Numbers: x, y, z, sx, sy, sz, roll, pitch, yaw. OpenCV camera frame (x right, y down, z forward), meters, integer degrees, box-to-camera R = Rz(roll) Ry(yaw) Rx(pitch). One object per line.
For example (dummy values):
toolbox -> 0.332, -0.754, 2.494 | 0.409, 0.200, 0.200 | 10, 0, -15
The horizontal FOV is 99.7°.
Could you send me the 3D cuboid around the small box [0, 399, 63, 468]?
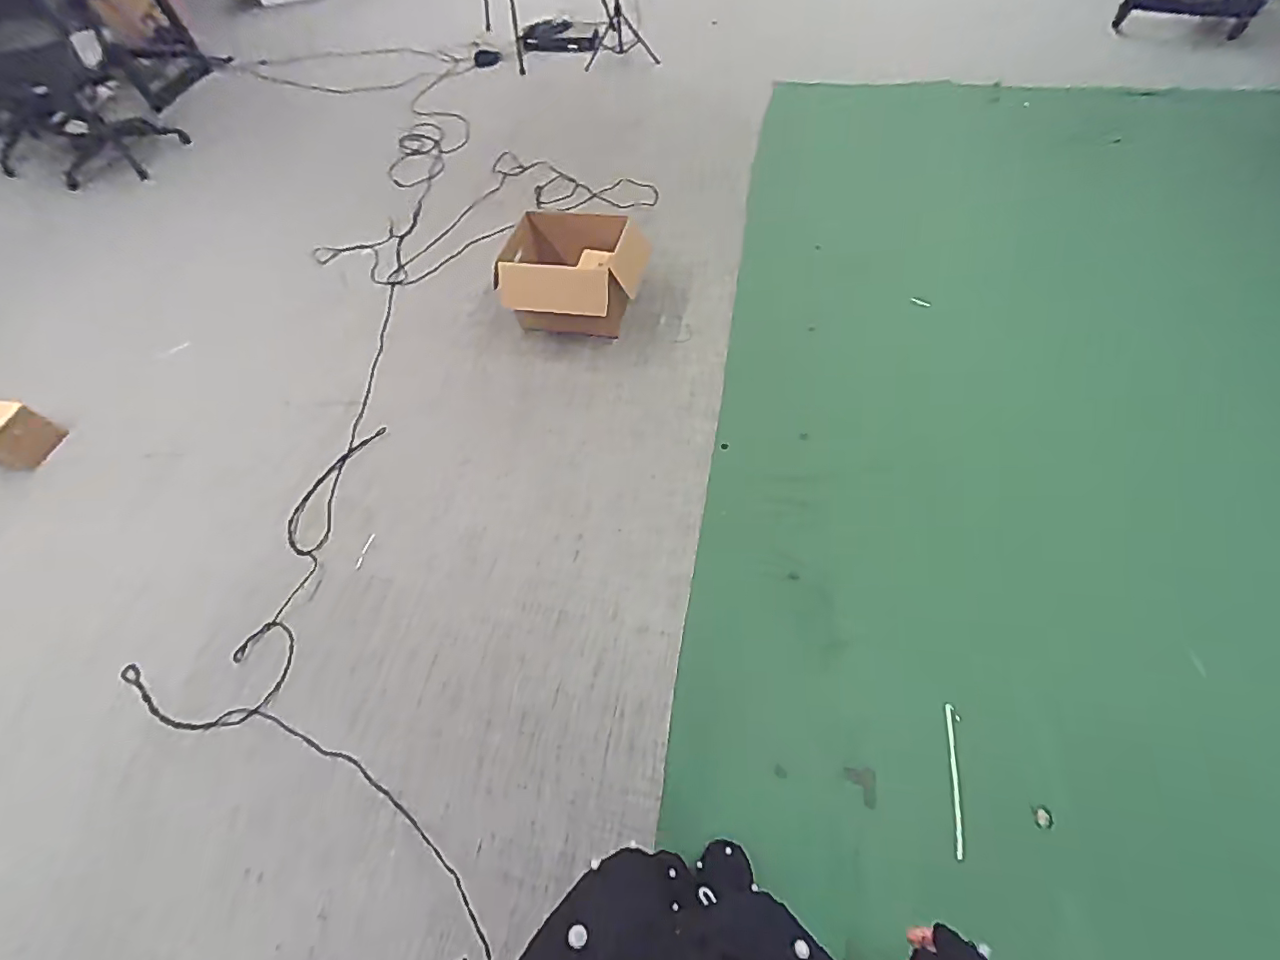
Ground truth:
small box -> -2.192, -0.163, 1.879 | 0.168, 0.176, 0.179 | 6, 60, 8
